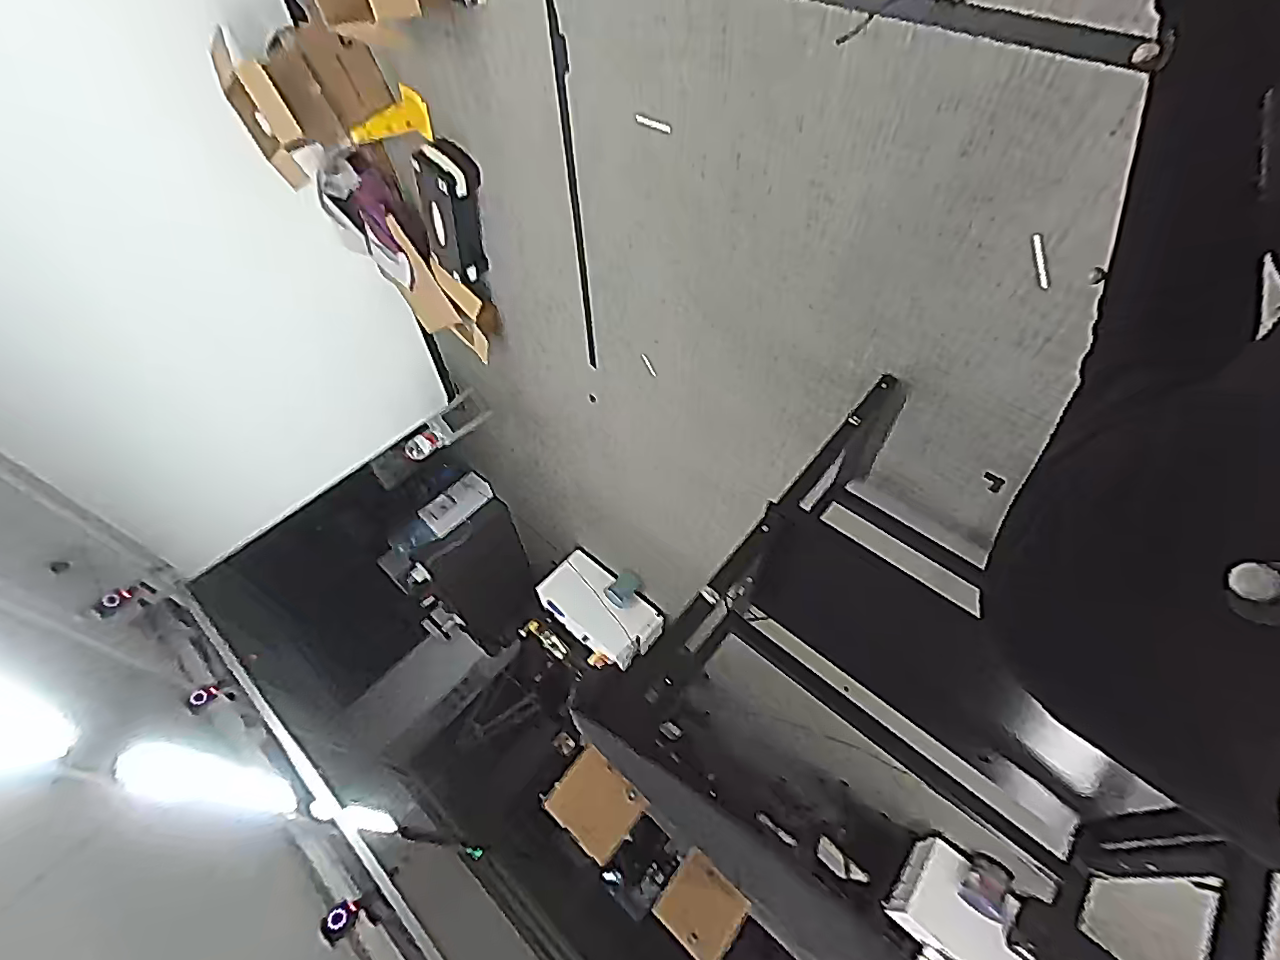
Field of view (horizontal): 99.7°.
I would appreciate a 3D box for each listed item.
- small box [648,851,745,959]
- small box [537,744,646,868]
[{"bbox_3d":[0.135,1.030,1.299,0.168,0.176,0.179,34,151,24],"label":"small box"},{"bbox_3d":[-0.098,0.709,1.191,0.168,0.176,0.179,36,155,21],"label":"small box"}]
